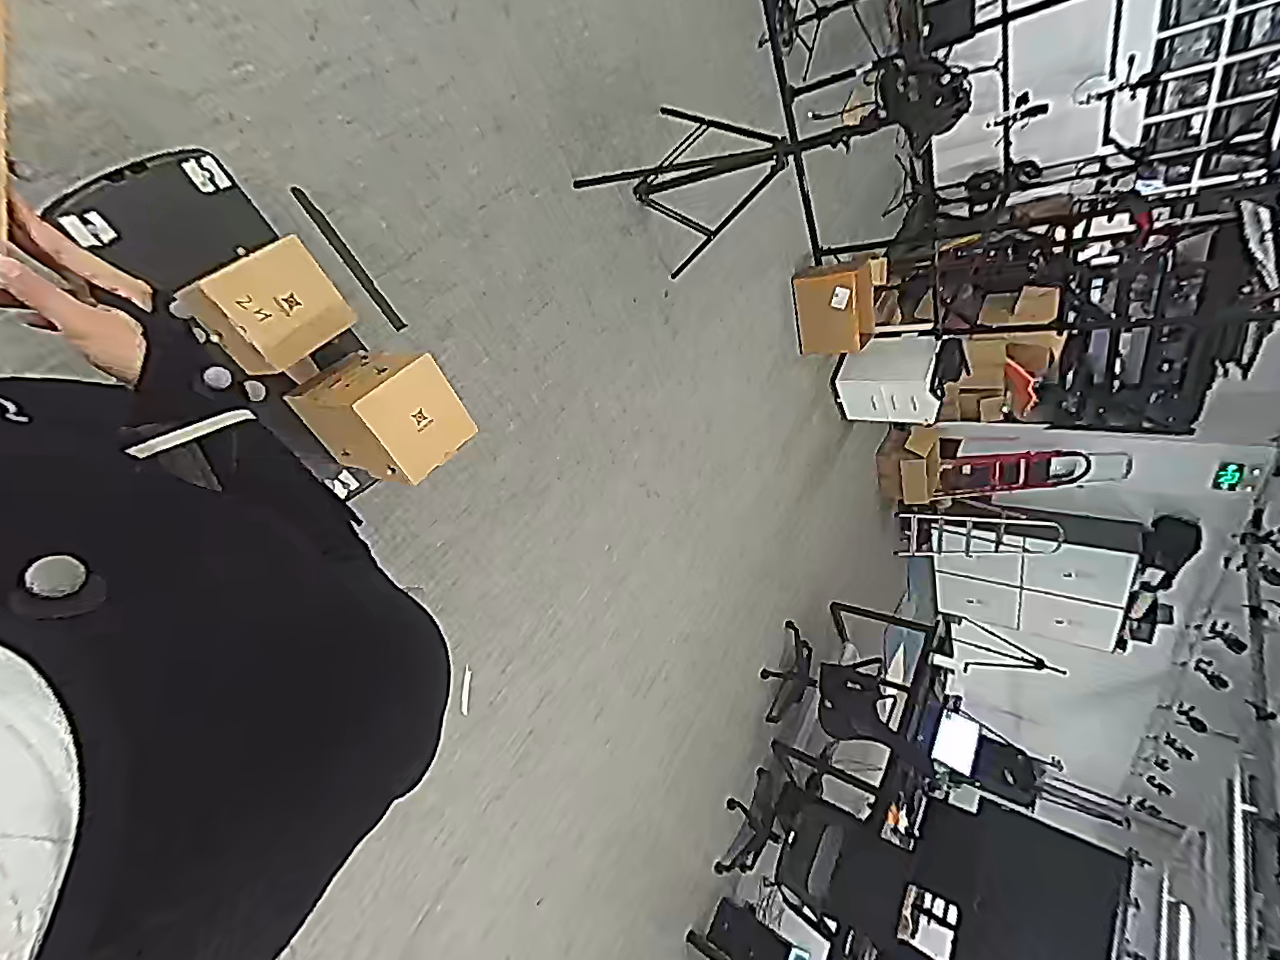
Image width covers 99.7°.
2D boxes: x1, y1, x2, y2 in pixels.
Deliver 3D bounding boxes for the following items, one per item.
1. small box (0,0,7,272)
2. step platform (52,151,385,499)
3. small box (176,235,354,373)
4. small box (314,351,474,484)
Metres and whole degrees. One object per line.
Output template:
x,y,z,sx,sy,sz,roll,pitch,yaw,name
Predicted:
-0.490,-0.223,0.304,0.168,0.176,0.179,-1,99,-52,small box
-0.753,-0.278,1.120,0.286,0.204,0.684,-54,133,-31,step platform
-0.660,-0.306,0.953,0.179,0.176,0.168,-51,132,-32,small box
-0.449,-0.115,0.987,0.168,0.176,0.179,-51,133,-33,small box
